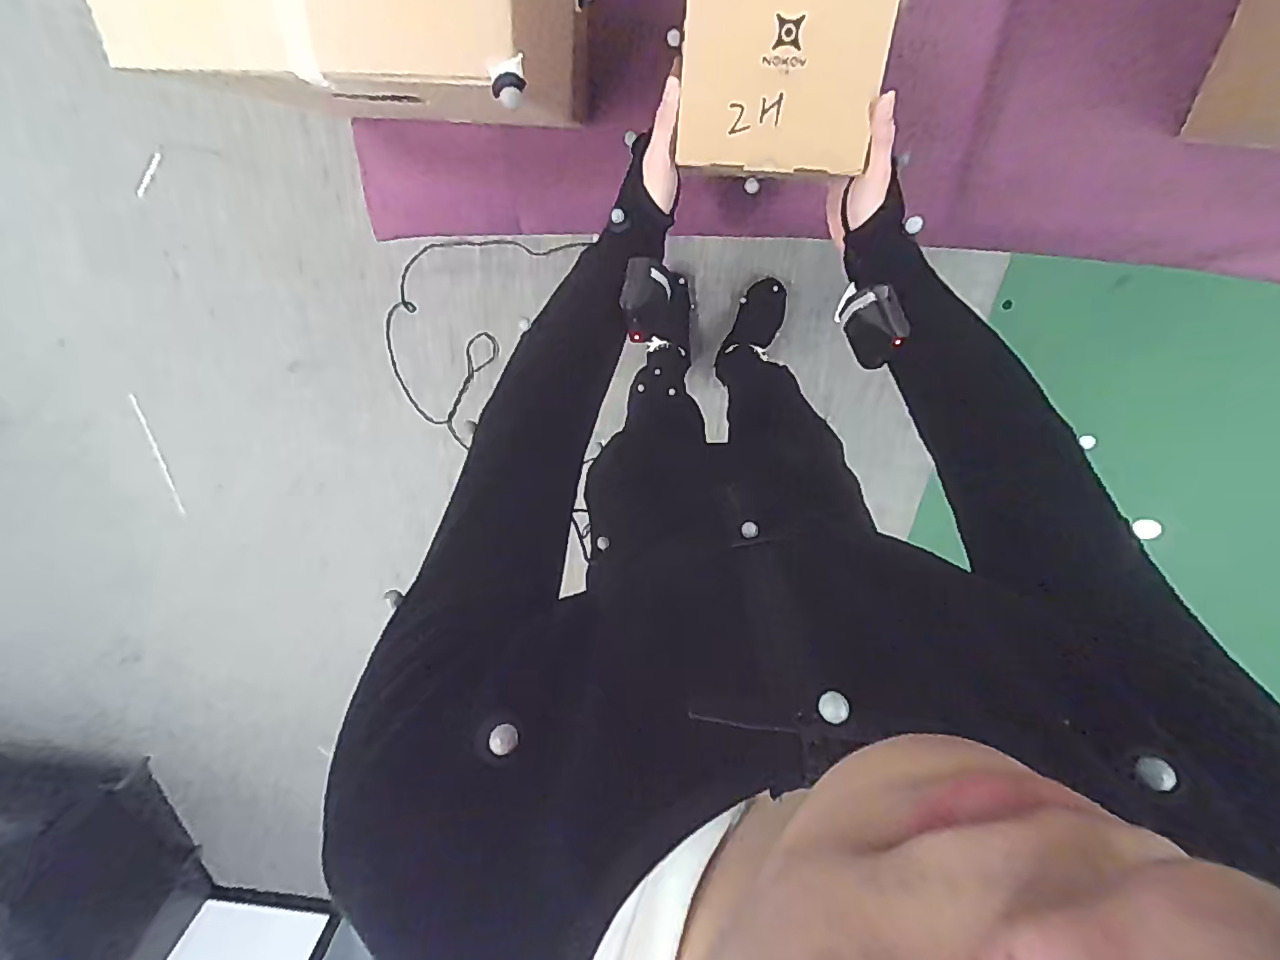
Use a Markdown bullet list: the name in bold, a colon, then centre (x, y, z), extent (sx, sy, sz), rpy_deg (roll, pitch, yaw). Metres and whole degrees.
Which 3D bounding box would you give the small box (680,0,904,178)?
- **small box**: centre (0.125, -0.387, 0.502), extent (0.168, 0.176, 0.179), rpy_deg (5, 118, 3)
